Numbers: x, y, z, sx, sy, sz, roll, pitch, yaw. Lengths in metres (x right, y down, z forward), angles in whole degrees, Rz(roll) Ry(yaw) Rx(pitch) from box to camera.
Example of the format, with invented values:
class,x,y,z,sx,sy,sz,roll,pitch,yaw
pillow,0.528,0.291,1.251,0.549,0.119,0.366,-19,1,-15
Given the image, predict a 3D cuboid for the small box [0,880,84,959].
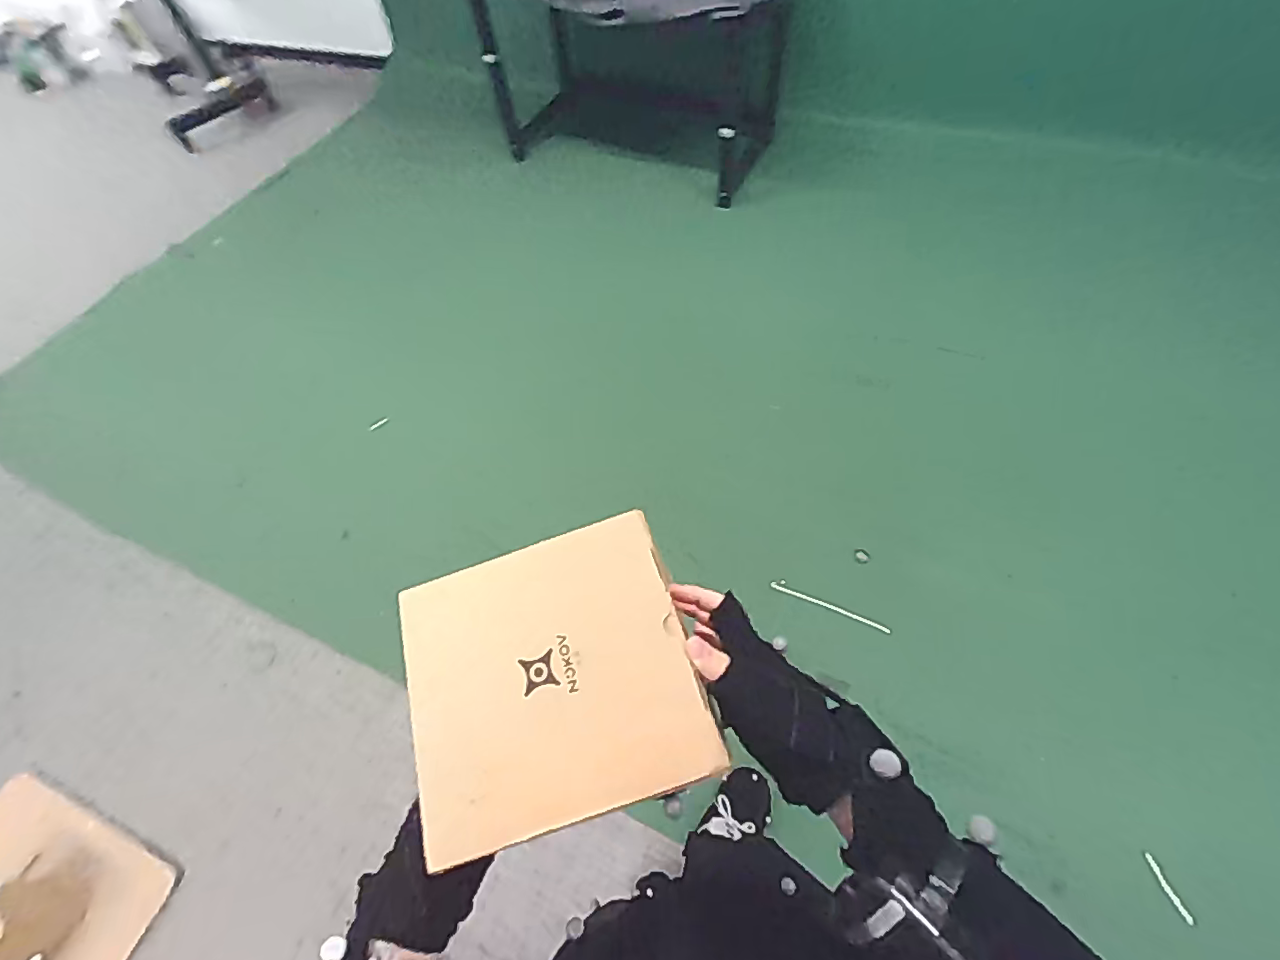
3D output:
class,x,y,z,sx,sy,sz,roll,pitch,yaw
small box,-1.371,0.981,1.146,0.179,0.176,0.168,17,63,16
